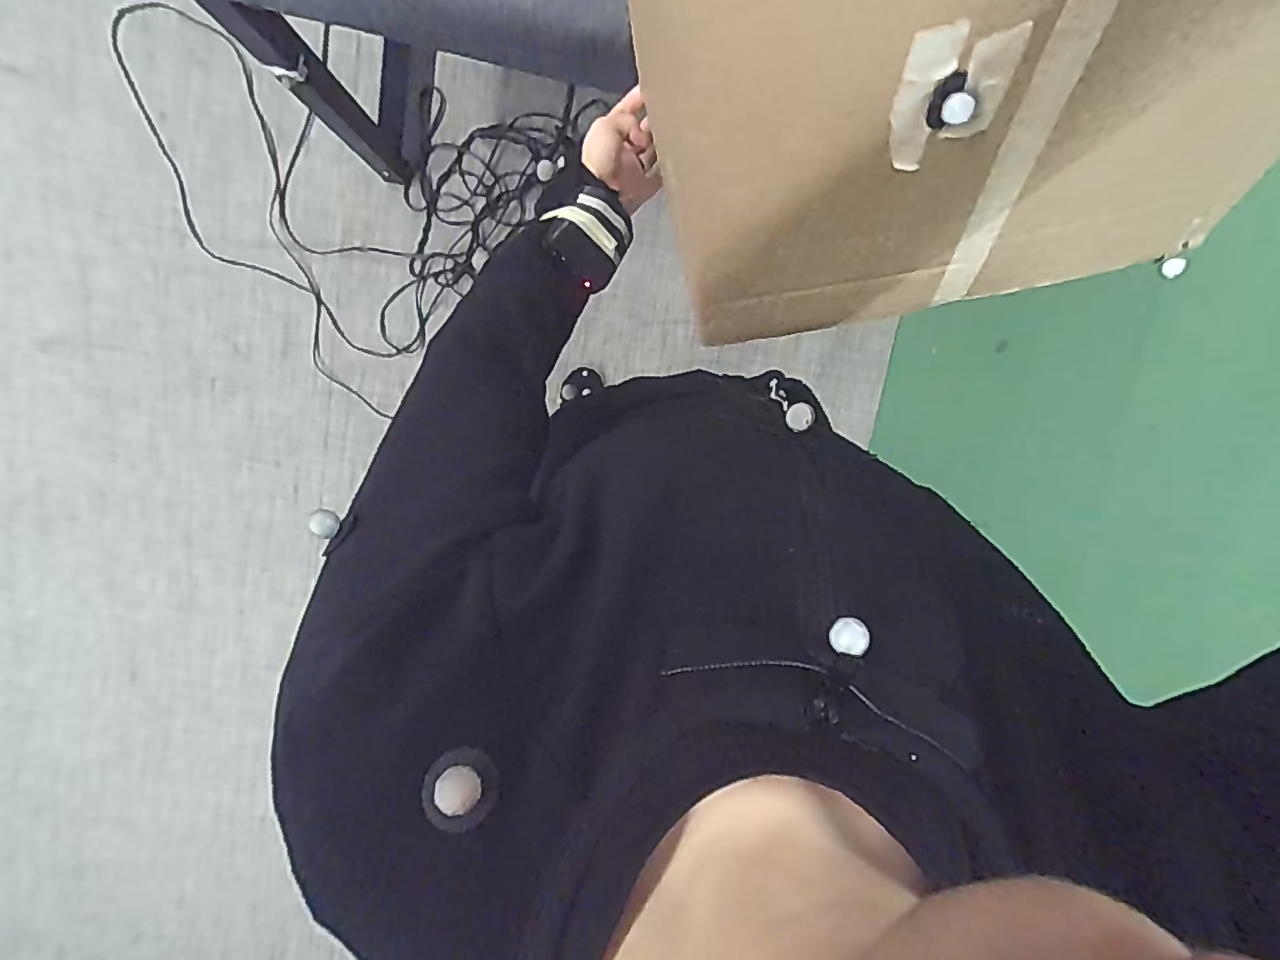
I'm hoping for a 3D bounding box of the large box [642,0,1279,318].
[{"bbox_3d":[0.149,-0.357,0.249,0.320,0.408,0.320,-11,64,5],"label":"large box"}]
